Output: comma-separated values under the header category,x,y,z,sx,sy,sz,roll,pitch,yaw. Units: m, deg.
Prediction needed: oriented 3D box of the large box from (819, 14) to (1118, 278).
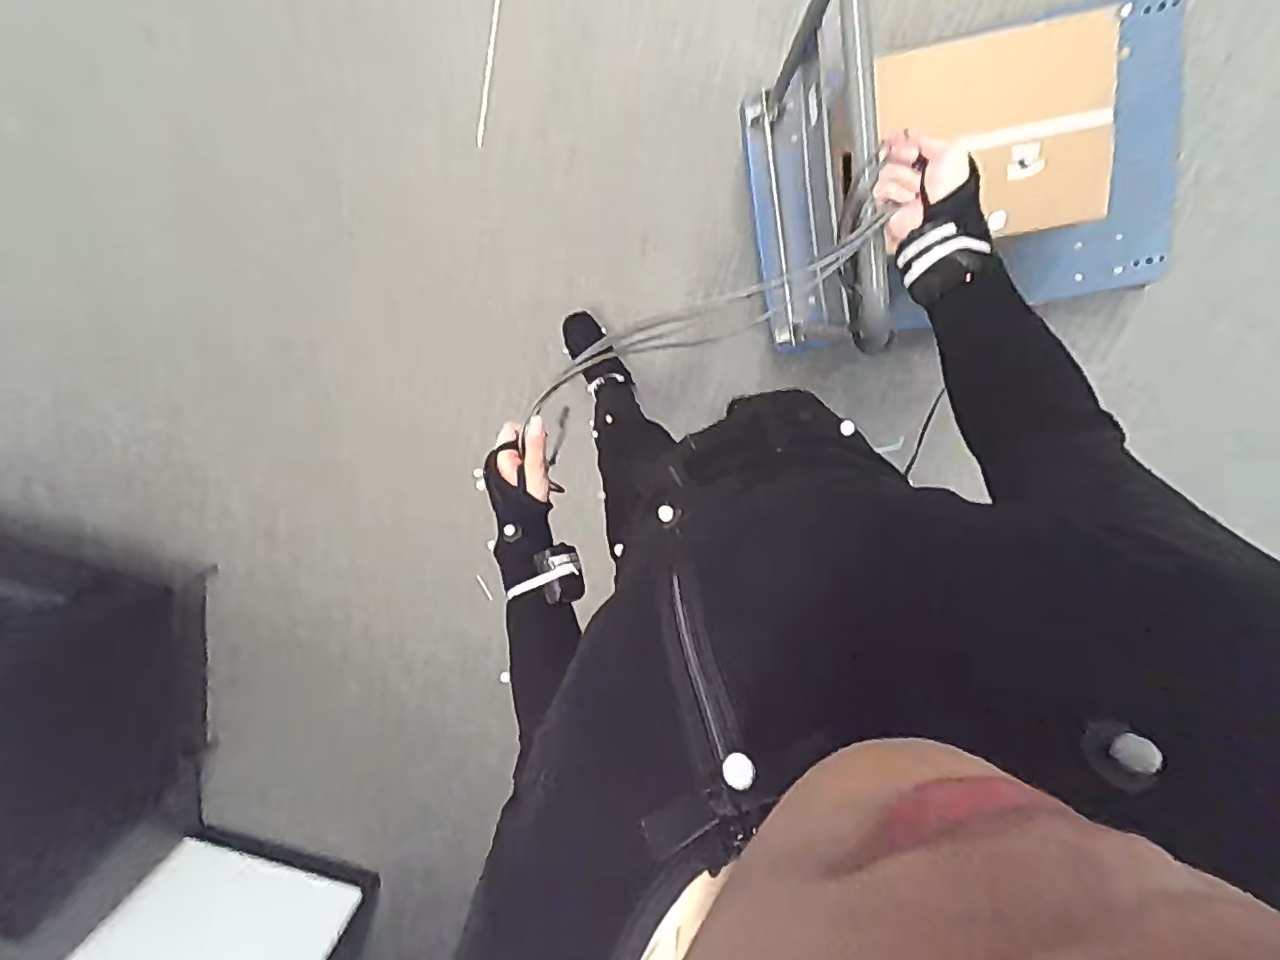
category,x,y,z,sx,sy,sz,roll,pitch,yaw
large box,0.597,-0.602,1.057,0.408,0.320,0.320,-7,105,8
